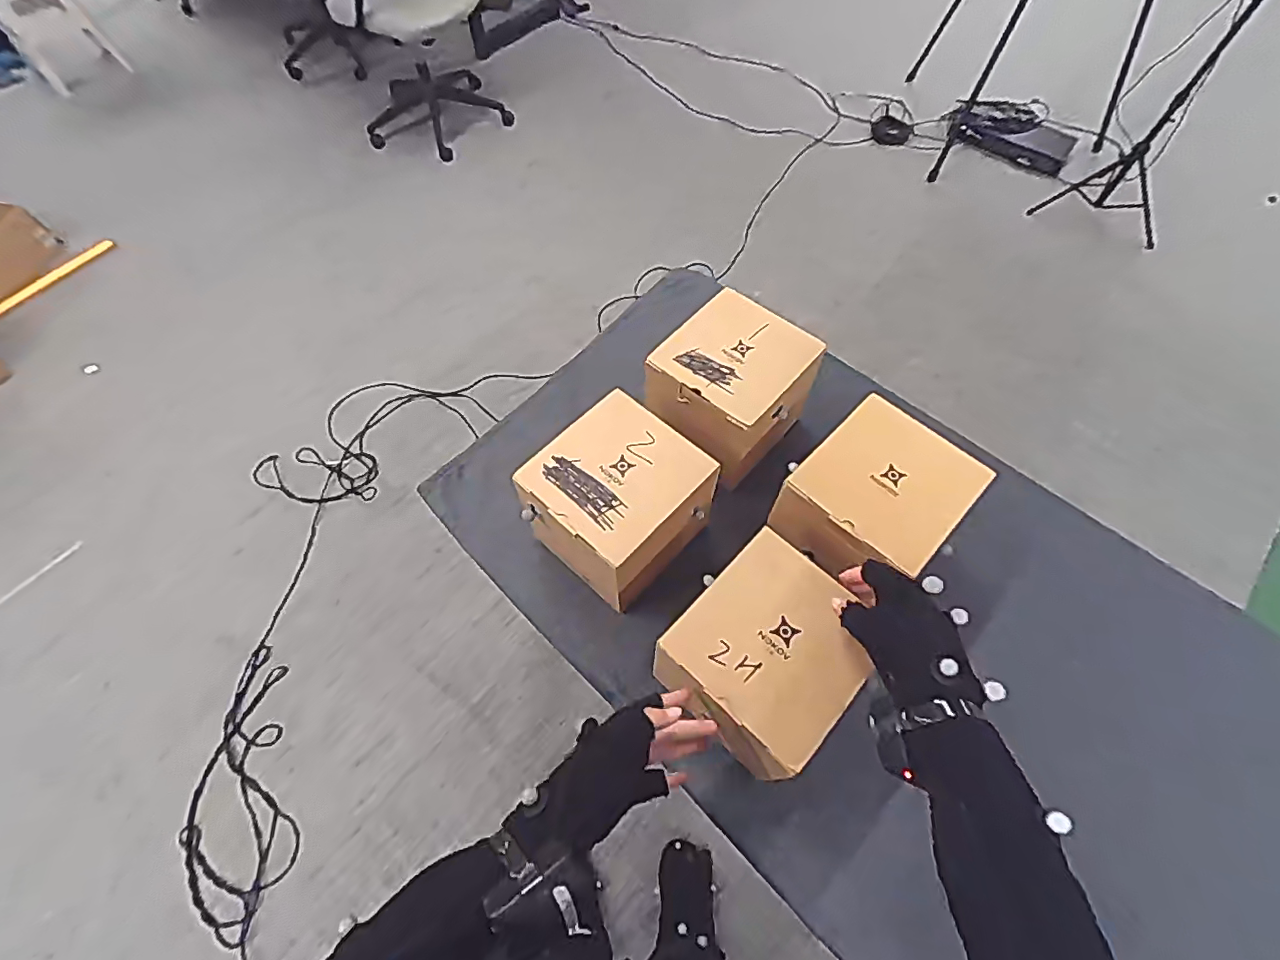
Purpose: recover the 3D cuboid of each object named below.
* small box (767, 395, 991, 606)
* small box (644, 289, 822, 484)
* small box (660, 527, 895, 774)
[{"bbox_3d":[0.280,0.035,0.678,0.168,0.176,0.179,41,71,20],"label":"small box"},{"bbox_3d":[0.123,-0.125,0.765,0.168,0.176,0.179,38,68,19],"label":"small box"},{"bbox_3d":[0.133,0.190,0.593,0.168,0.176,0.179,40,68,20],"label":"small box"}]
